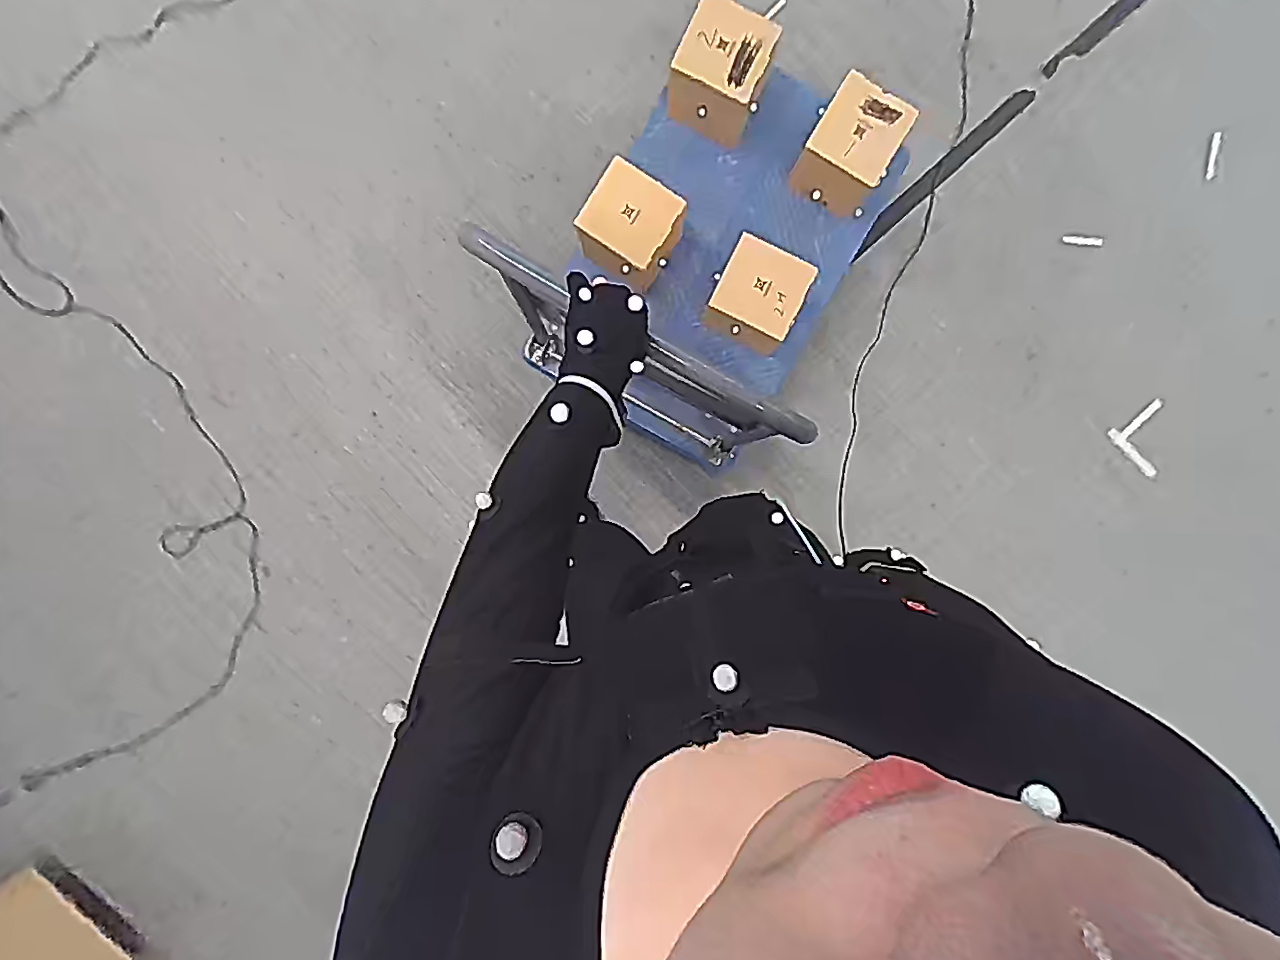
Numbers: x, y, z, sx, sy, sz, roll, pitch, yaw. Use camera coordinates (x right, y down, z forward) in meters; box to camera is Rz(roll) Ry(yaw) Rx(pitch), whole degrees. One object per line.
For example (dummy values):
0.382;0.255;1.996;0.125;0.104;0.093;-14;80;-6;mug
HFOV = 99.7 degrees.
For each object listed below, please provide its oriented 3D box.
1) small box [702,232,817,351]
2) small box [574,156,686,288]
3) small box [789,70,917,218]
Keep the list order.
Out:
0.250;-0.400;1.186;0.179;0.176;0.168;26;93;-1;small box
-0.022;-0.549;1.179;0.179;0.176;0.168;33;92;-3;small box
0.446;-0.711;1.166;0.168;0.176;0.179;31;94;-1;small box
